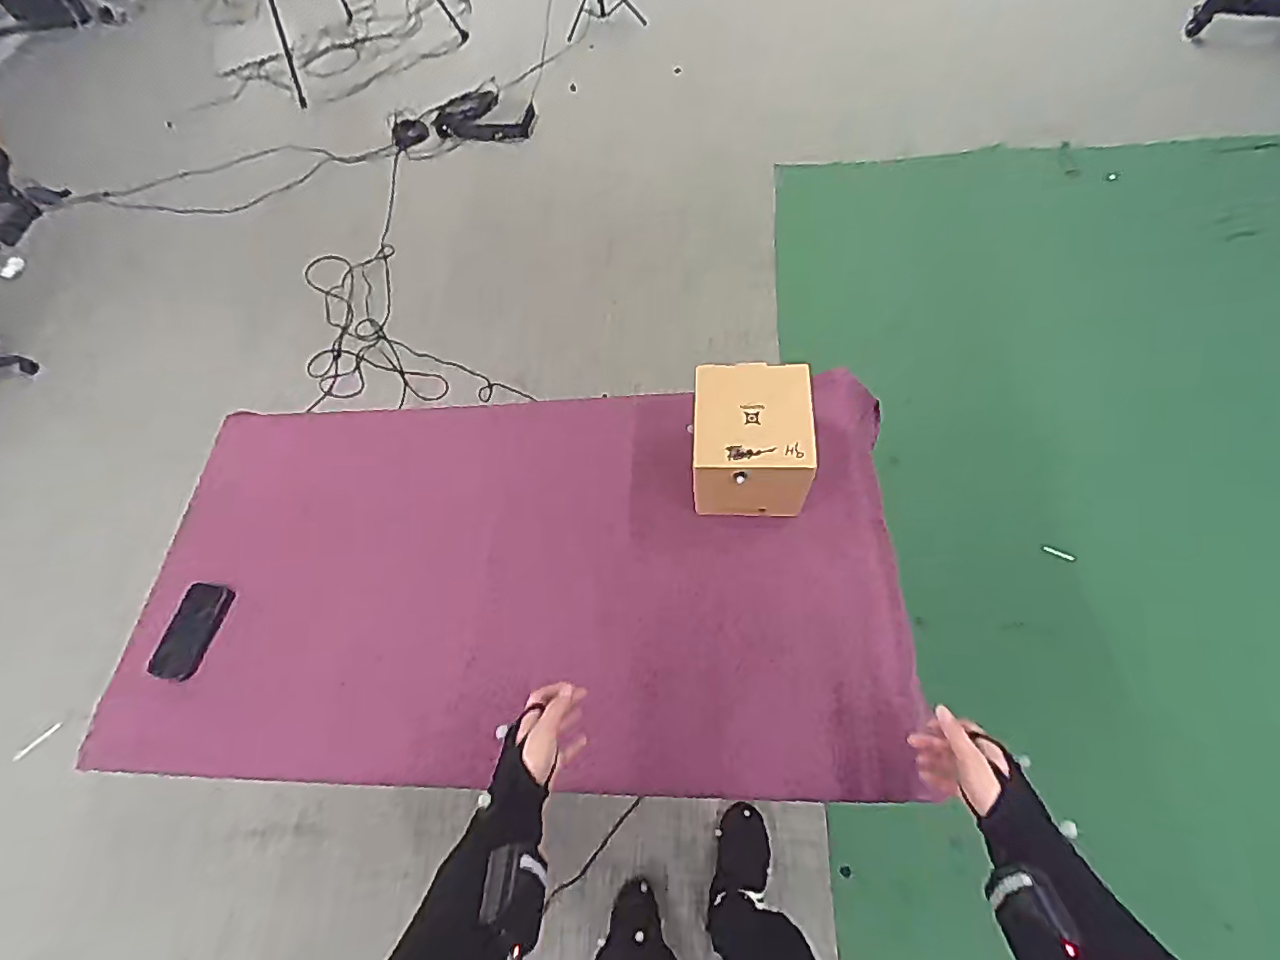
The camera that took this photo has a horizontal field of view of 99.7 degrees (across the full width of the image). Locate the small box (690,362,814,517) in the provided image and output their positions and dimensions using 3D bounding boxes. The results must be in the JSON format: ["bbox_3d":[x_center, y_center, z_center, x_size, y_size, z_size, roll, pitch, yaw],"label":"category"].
[{"bbox_3d":[0.163,-0.059,0.824,0.168,0.176,0.179,1,63,9],"label":"small box"}]
